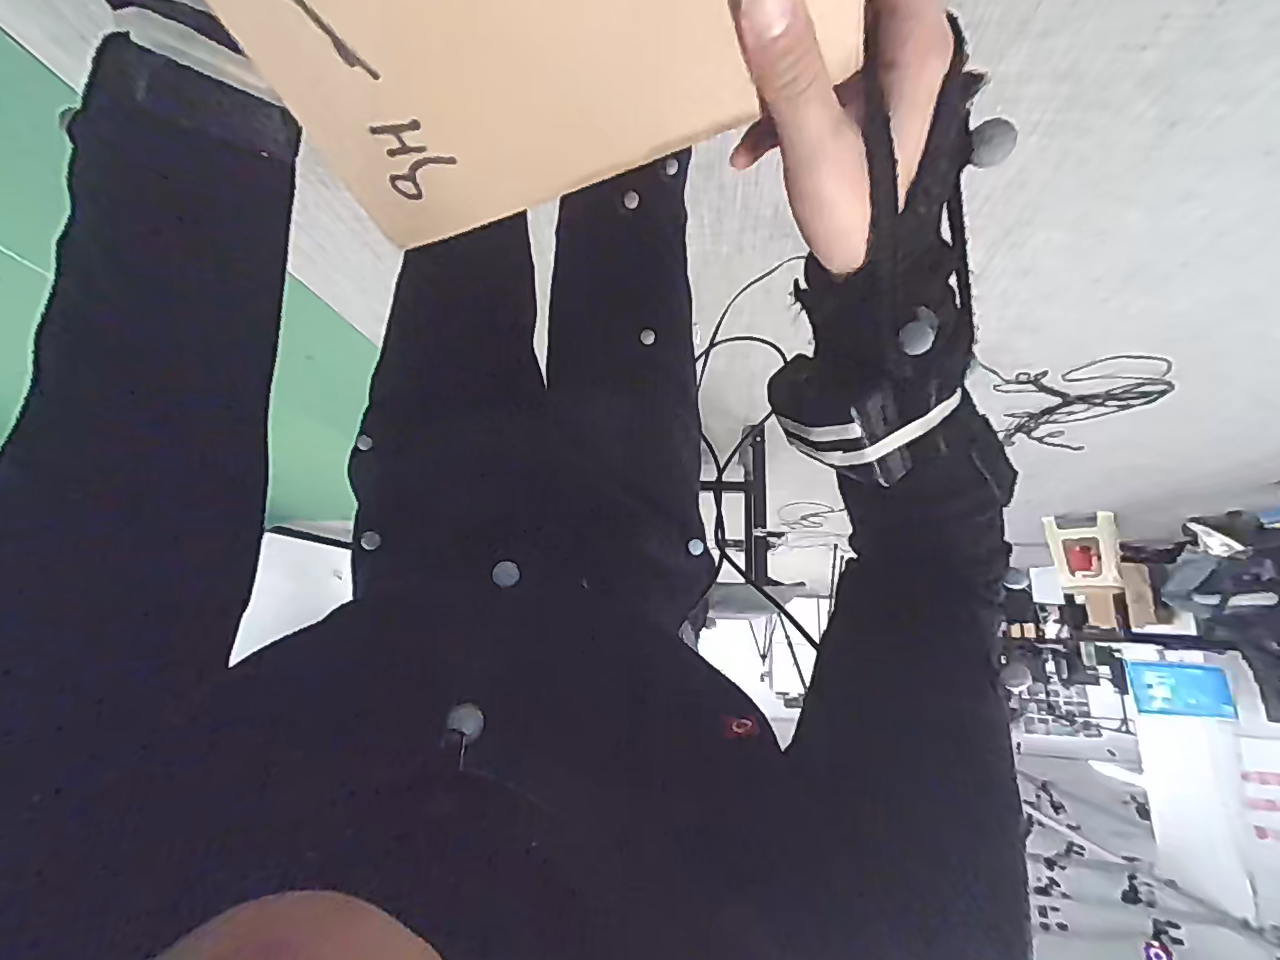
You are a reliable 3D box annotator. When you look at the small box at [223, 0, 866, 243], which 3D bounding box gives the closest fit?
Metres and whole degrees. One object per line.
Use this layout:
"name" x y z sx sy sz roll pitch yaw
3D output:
"small box" -0.042 -0.218 0.170 0.179 0.176 0.168 -16 146 9
